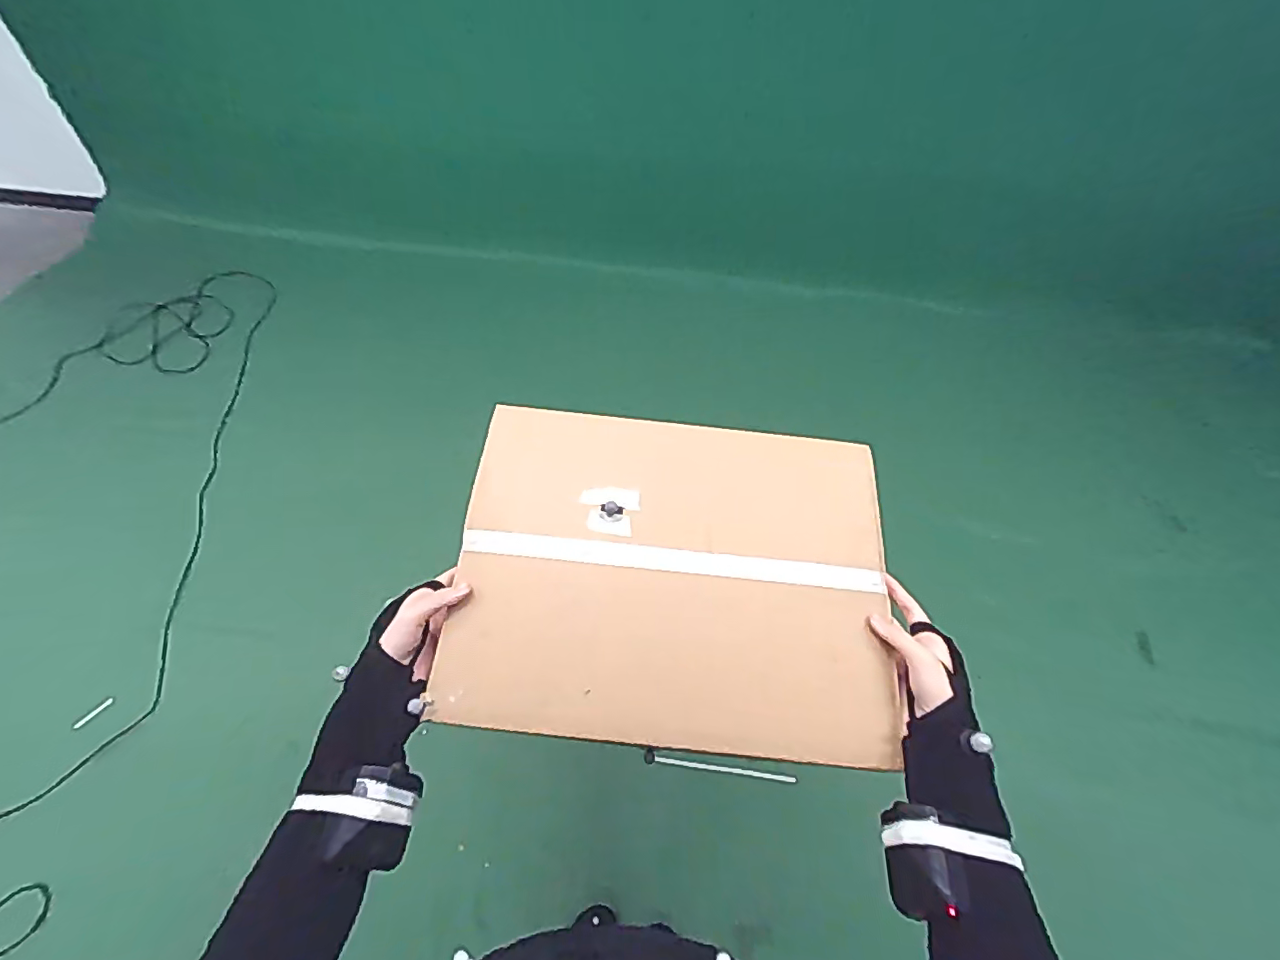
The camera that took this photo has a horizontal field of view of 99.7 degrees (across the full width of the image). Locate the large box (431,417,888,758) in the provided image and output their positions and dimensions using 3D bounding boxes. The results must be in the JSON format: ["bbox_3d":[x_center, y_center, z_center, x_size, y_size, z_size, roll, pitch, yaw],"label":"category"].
[{"bbox_3d":[0.025,0.146,0.661,0.408,0.320,0.320,5,64,1],"label":"large box"}]
